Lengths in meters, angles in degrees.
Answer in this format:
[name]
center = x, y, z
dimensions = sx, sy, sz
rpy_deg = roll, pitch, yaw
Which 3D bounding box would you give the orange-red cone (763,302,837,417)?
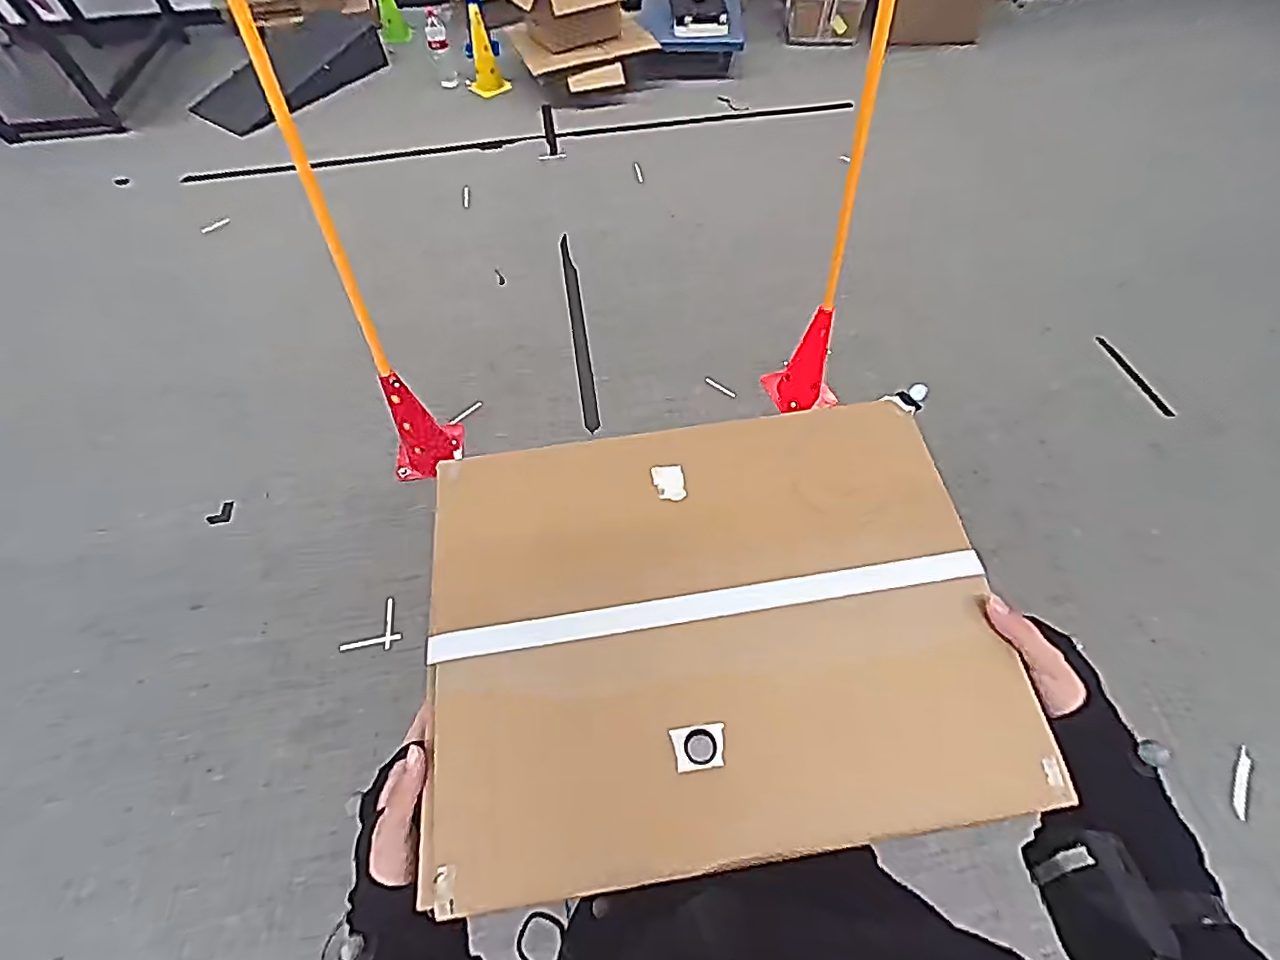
[orange-red cone]
center = 0.530, -0.392, 1.653
dimensions = 0.199, 0.360, 0.198
rpy_deg = -16, 60, -10
